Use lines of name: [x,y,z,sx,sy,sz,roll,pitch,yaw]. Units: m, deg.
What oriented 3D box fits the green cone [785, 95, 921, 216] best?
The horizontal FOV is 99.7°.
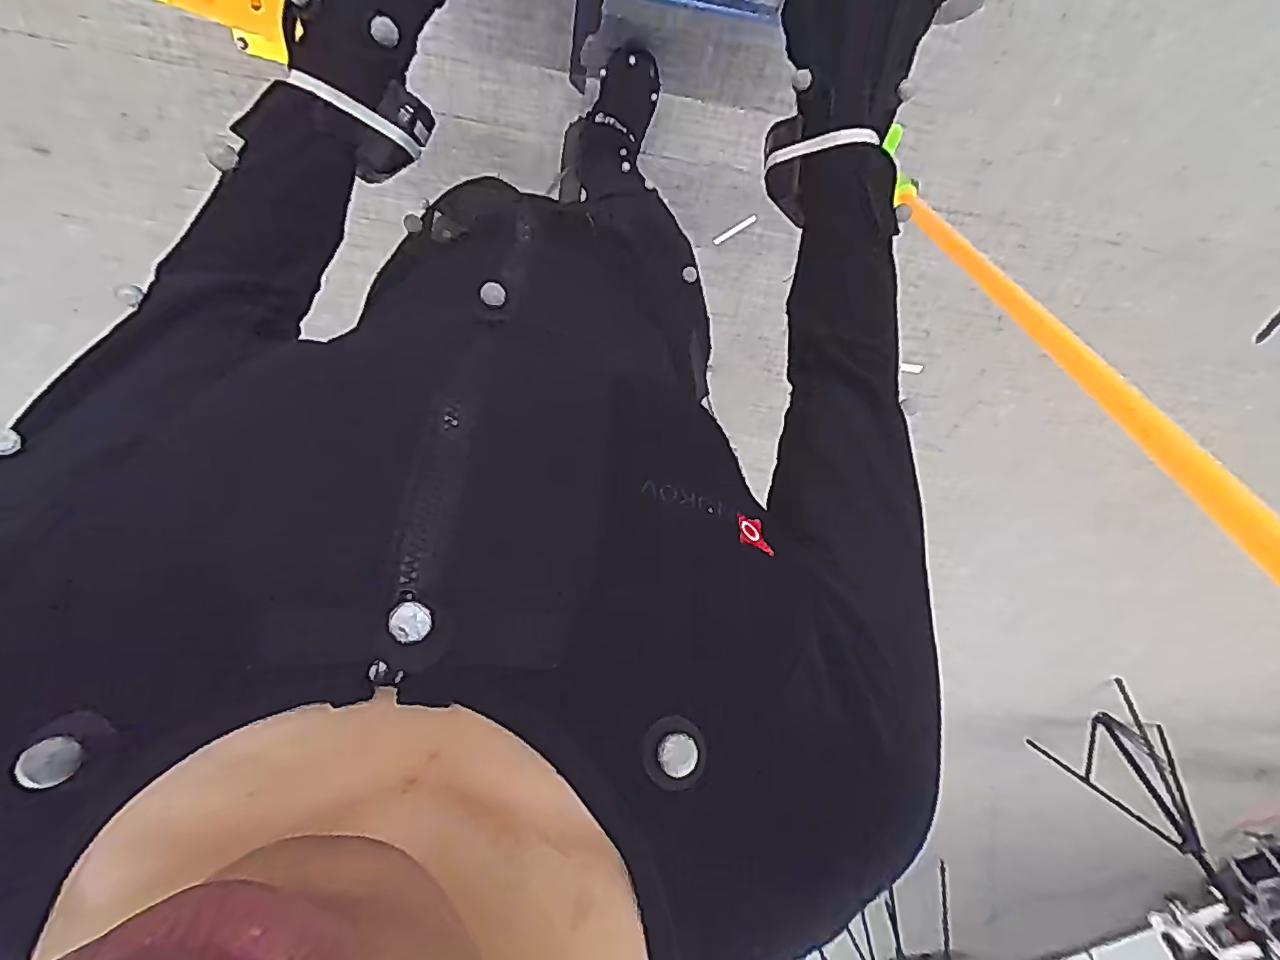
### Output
green cone: [0.442,-0.591,1.045,0.202,0.368,0.200,10,128,-10]
